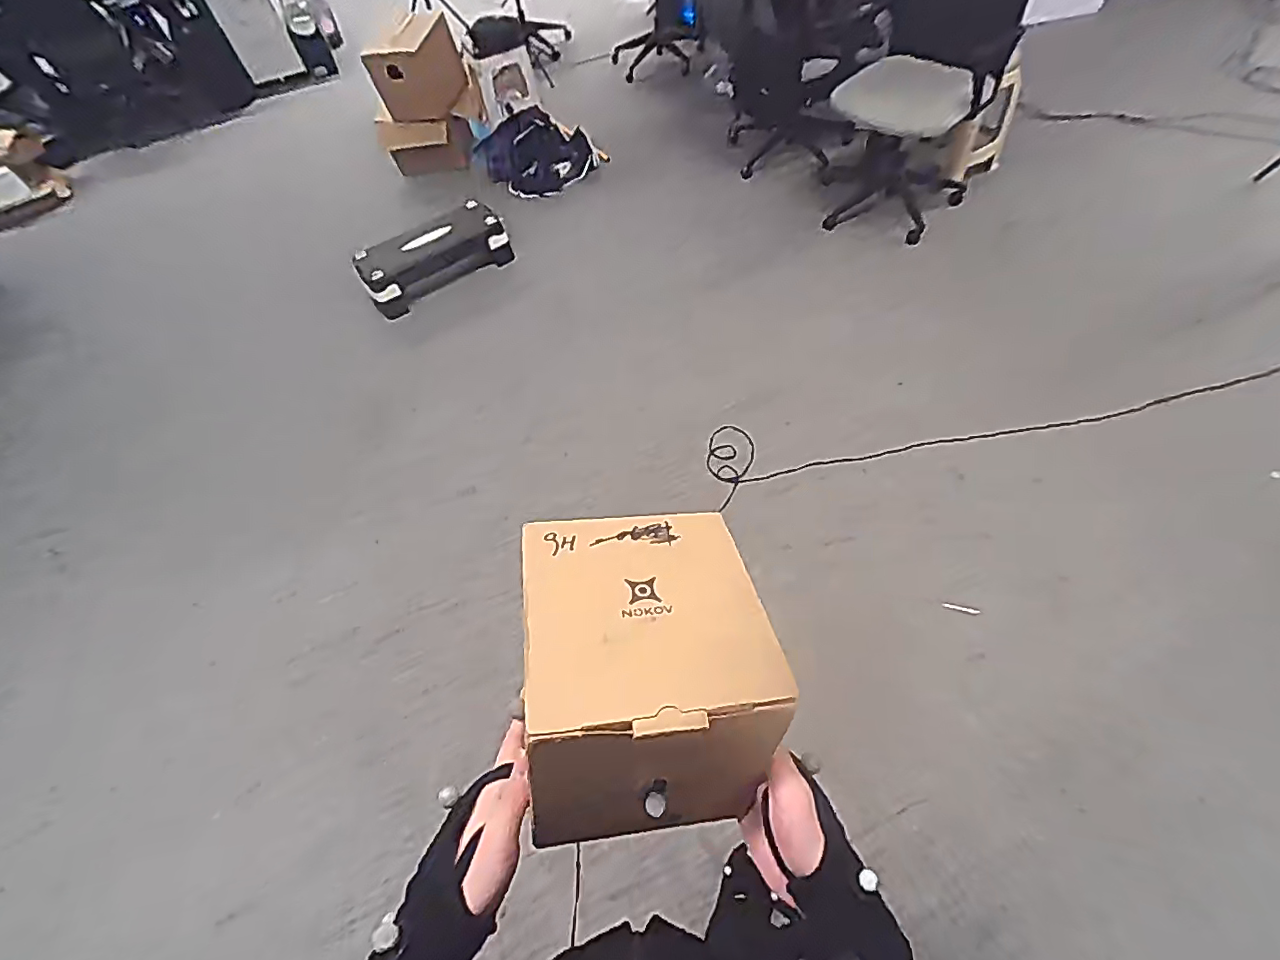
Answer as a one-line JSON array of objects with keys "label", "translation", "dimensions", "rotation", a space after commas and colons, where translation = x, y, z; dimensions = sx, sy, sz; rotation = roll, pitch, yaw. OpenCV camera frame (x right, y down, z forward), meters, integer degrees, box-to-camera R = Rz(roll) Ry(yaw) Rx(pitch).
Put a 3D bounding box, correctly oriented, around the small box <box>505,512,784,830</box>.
[{"label": "small box", "translation": [-0.013, 0.146, 0.419], "dimensions": [0.168, 0.176, 0.179], "rotation": [-1, 40, -11]}]
